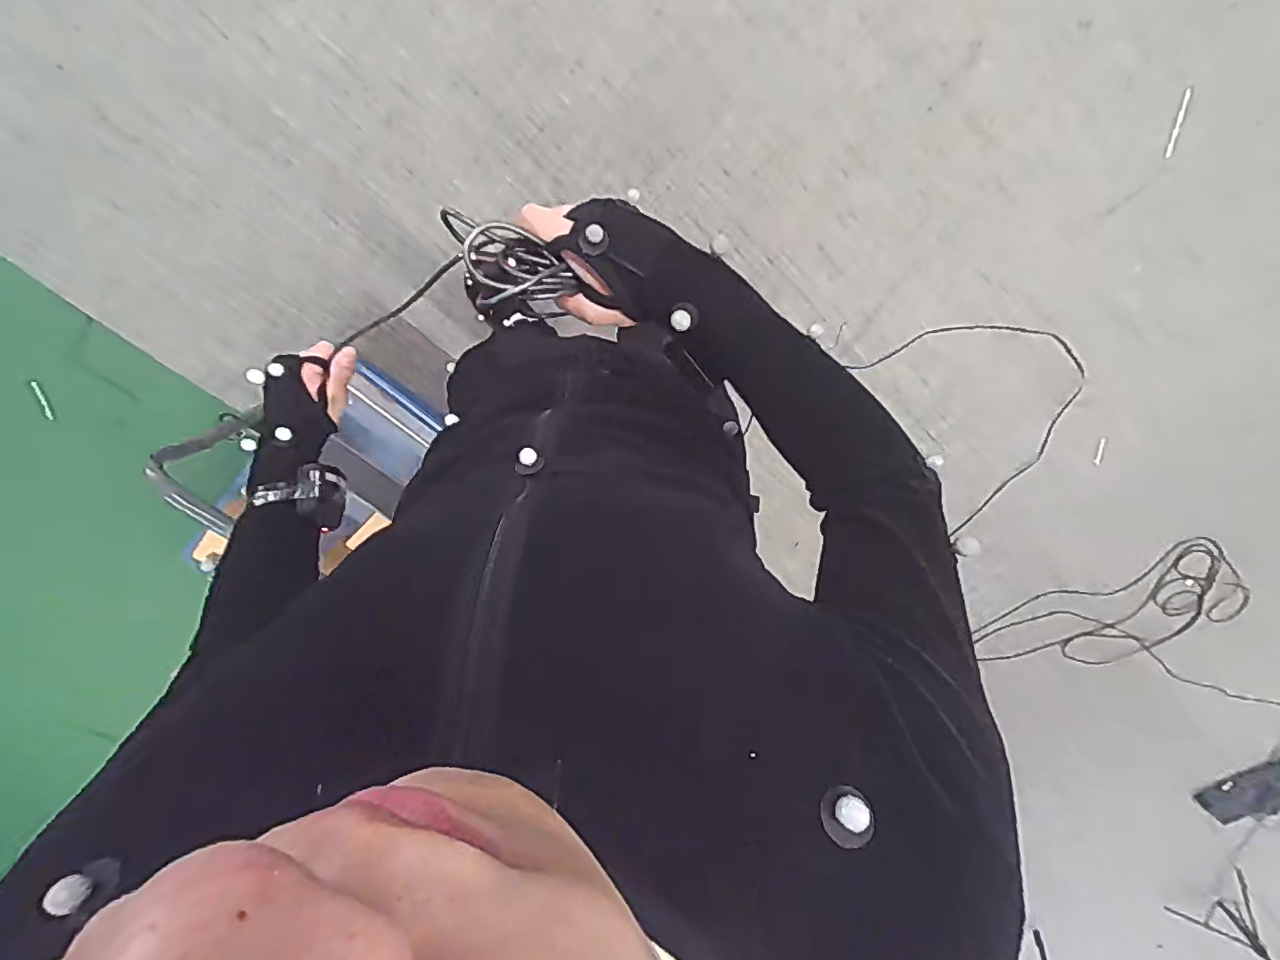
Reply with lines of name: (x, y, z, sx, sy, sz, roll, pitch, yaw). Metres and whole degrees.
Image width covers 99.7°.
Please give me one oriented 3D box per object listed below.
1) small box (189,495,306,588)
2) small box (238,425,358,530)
small box: (-1.052, 0.151, 1.465, 0.168, 0.176, 0.179, 38, 109, -20)
small box: (-0.868, -0.010, 1.391, 0.179, 0.176, 0.168, -42, 111, 16)
